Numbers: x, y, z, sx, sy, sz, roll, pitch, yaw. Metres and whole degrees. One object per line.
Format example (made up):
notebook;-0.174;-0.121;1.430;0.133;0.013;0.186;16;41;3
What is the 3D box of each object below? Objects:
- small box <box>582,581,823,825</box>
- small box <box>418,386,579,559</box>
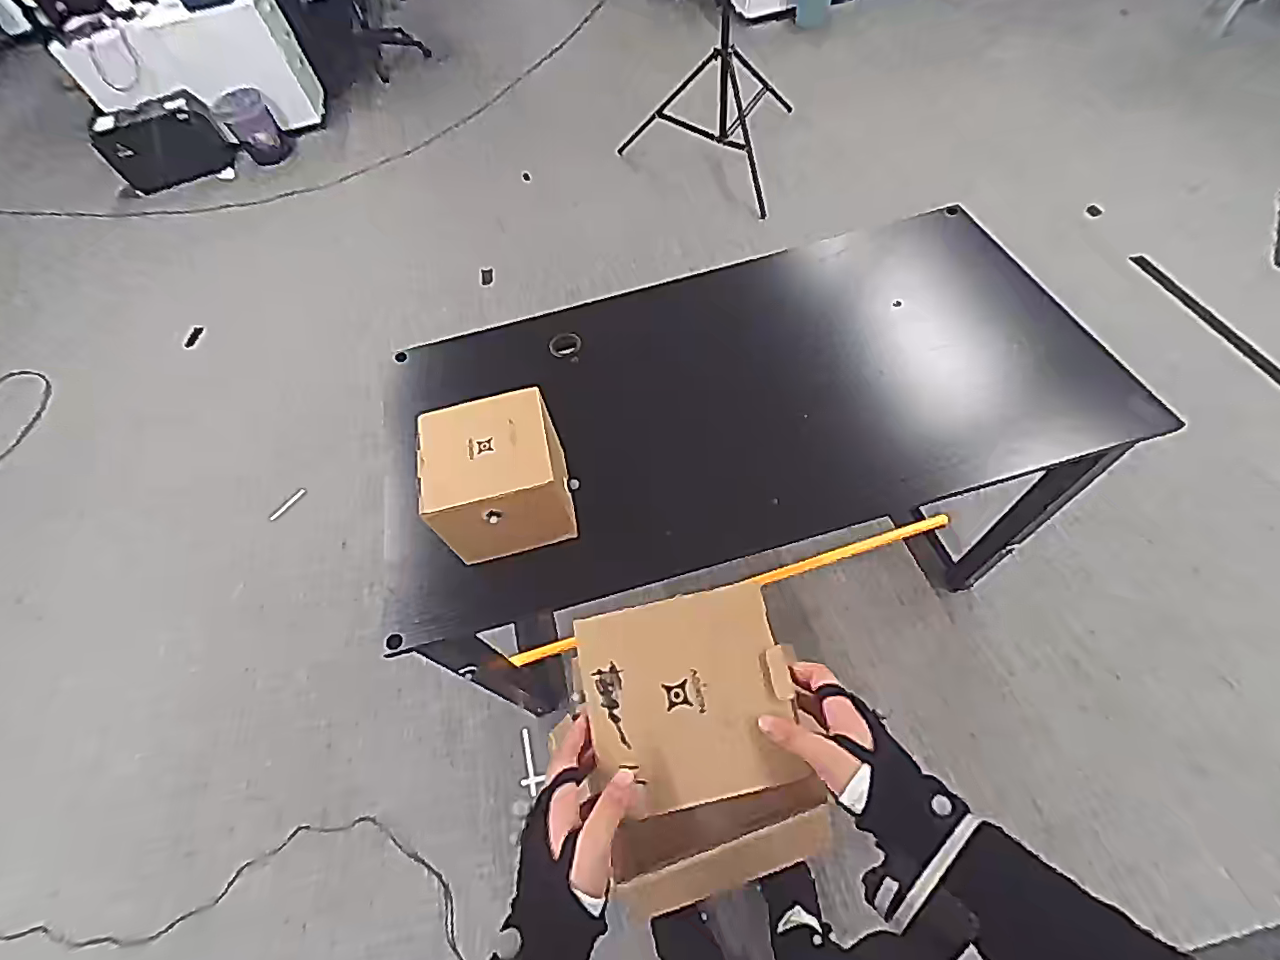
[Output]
small box;0.049;0.210;0.532;0.179;0.176;0.168;-12;68;-3
small box;-0.199;-0.003;0.783;0.179;0.176;0.168;-14;59;-3
